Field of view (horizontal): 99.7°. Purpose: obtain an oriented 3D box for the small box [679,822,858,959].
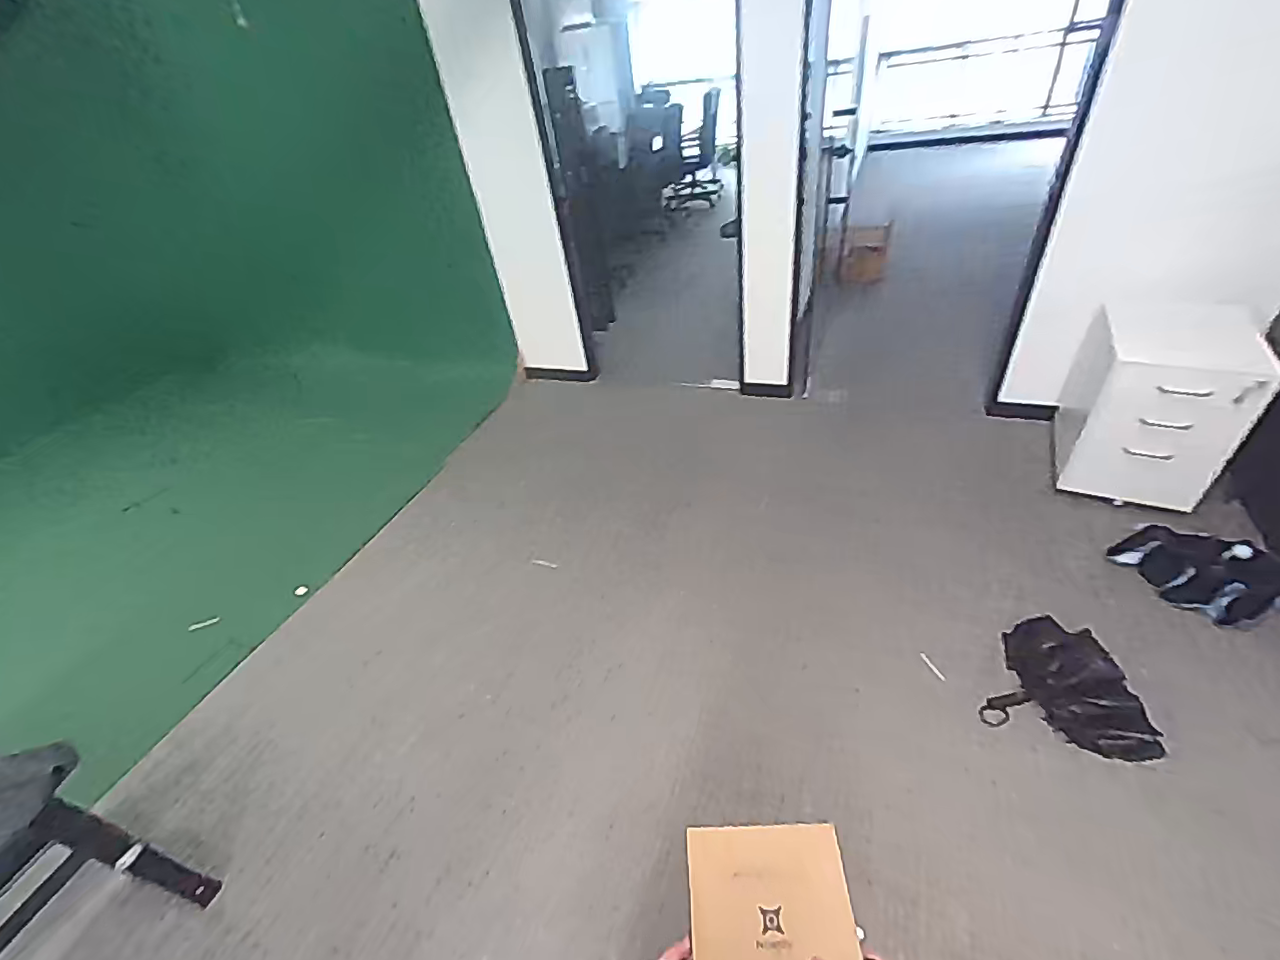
[{"bbox_3d":[0.132,0.492,0.584,0.168,0.176,0.179,-4,44,3],"label":"small box"}]
